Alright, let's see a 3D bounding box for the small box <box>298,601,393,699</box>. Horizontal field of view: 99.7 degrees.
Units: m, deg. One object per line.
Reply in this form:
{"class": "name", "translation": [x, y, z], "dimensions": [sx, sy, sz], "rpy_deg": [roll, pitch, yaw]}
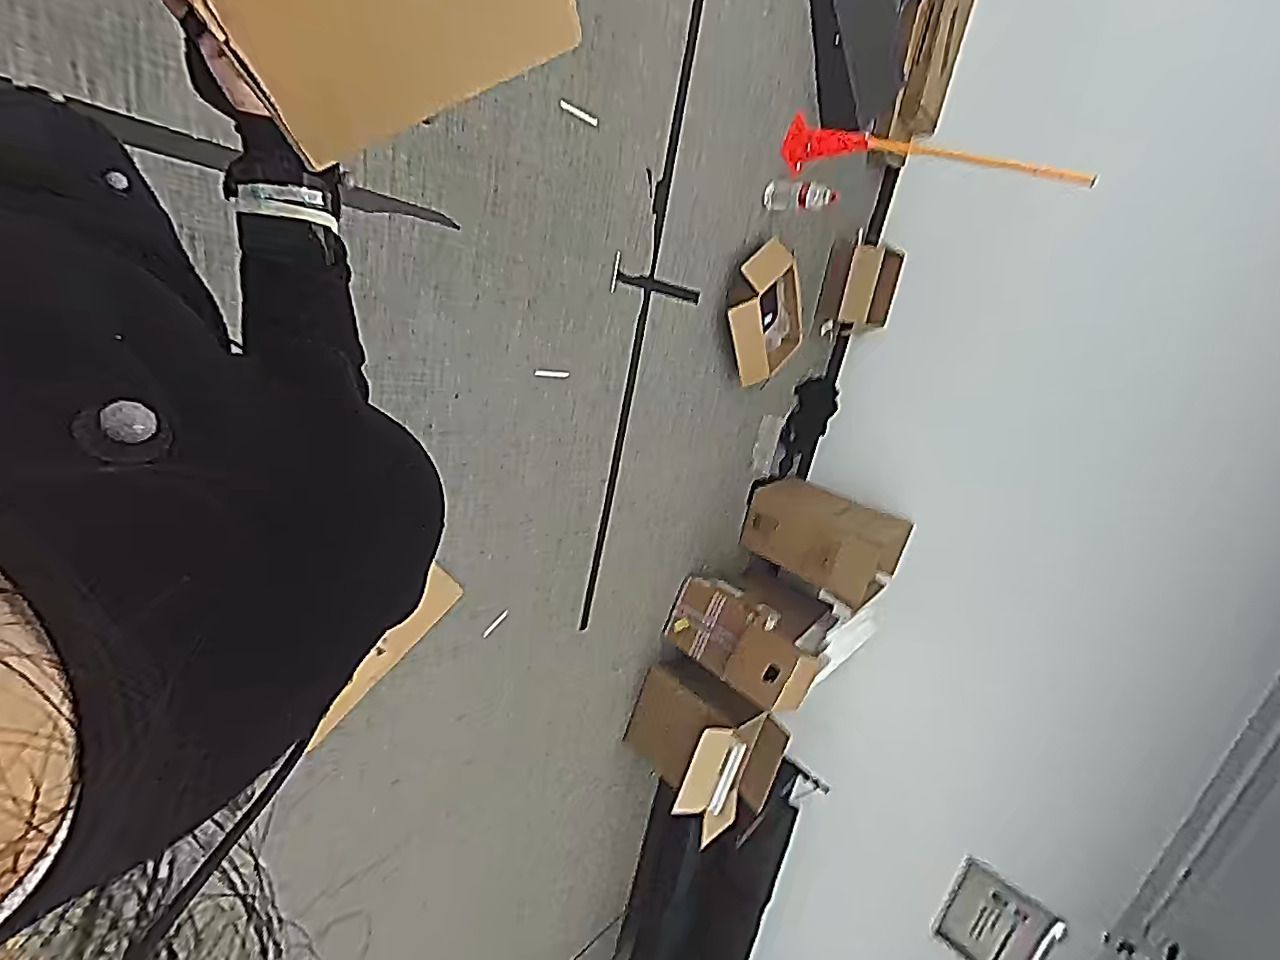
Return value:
{"class": "small box", "translation": [-0.871, 0.495, 1.589], "dimensions": [0.179, 0.176, 0.168], "rpy_deg": [-38, 136, -28]}

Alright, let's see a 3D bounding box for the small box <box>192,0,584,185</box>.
{"class": "small box", "translation": [-0.159, -0.301, 0.282], "dimensions": [0.179, 0.176, 0.168], "rpy_deg": [-34, 151, -11]}
